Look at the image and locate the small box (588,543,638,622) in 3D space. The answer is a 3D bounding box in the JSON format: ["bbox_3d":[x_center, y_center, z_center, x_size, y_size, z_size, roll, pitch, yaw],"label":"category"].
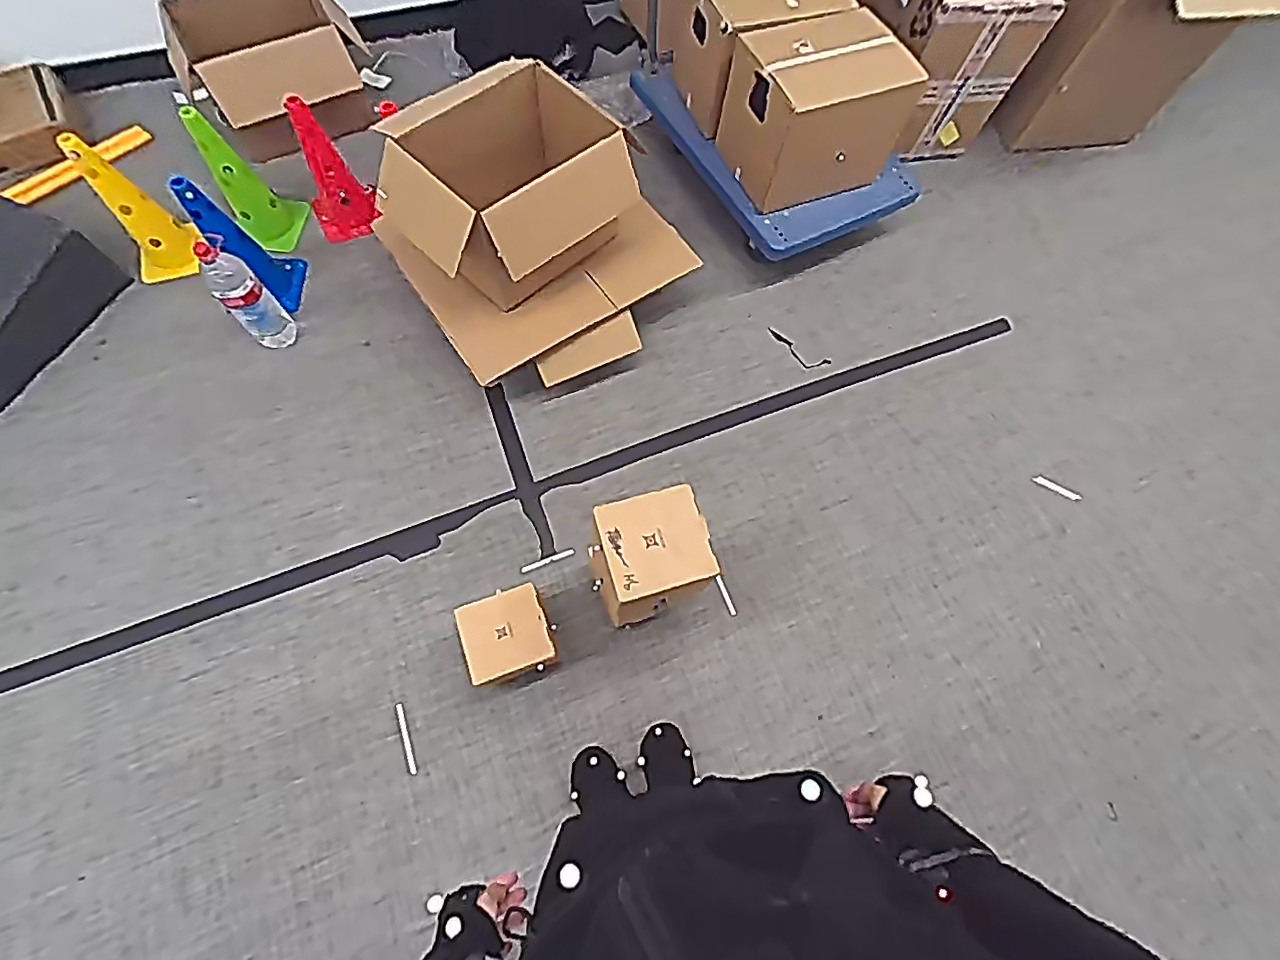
[{"bbox_3d":[-0.016,0.223,1.271,0.168,0.176,0.179,-19,71,-12],"label":"small box"}]

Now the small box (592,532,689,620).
[{"bbox_3d":[0.007,0.179,1.113,0.179,0.176,0.168,-17,72,-11],"label":"small box"}]

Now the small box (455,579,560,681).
[{"bbox_3d":[-0.289,0.341,1.206,0.179,0.176,0.168,-19,72,-11],"label":"small box"}]

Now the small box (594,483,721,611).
[{"bbox_3d":[0.021,0.124,0.959,0.179,0.176,0.168,-14,71,-11],"label":"small box"}]
